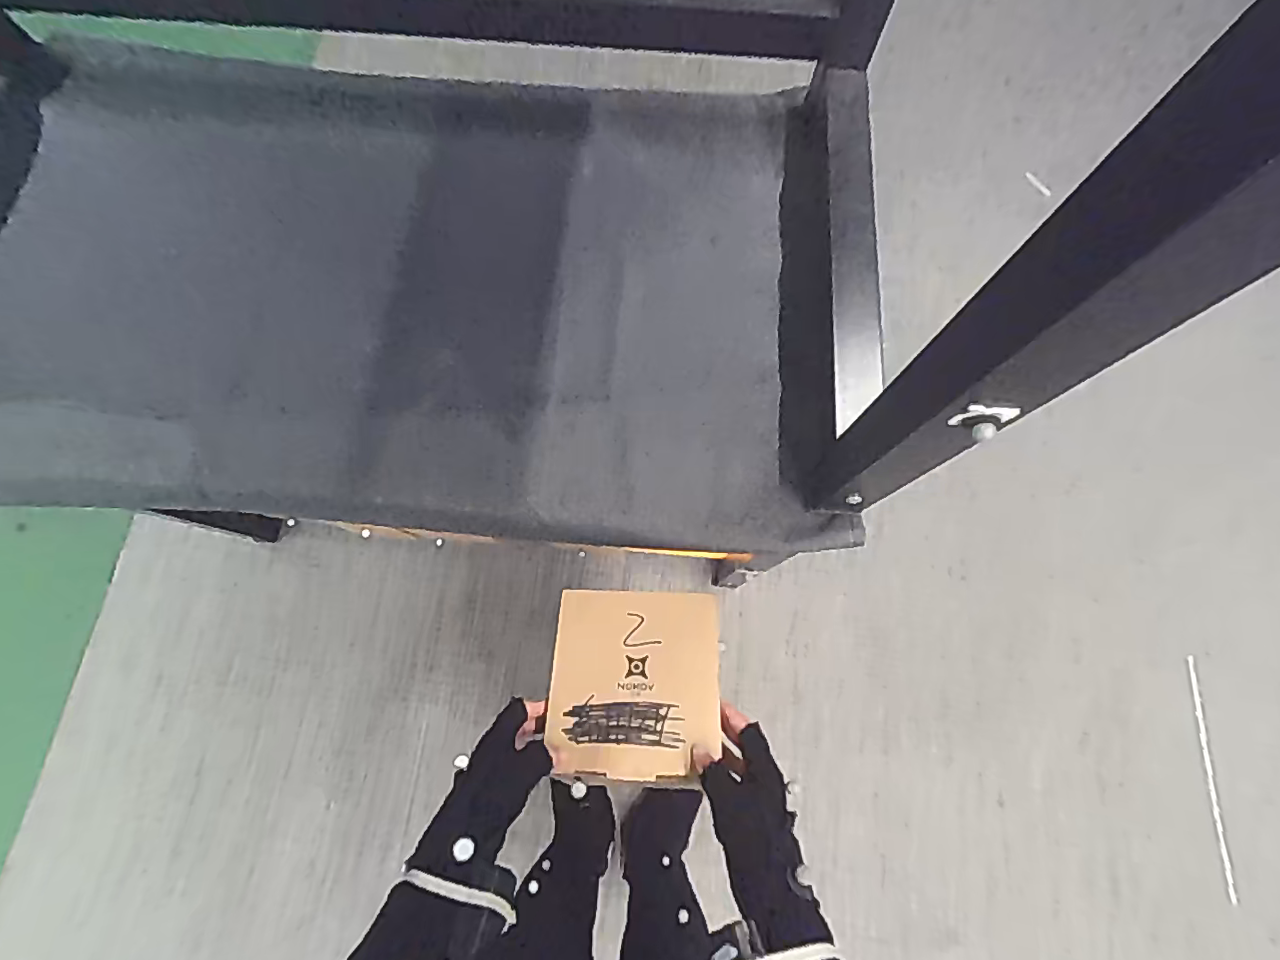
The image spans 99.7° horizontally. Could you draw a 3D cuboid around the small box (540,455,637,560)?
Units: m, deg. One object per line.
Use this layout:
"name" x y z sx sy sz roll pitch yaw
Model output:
"small box" -0.100 0.064 1.153 0.168 0.176 0.179 9 76 4
